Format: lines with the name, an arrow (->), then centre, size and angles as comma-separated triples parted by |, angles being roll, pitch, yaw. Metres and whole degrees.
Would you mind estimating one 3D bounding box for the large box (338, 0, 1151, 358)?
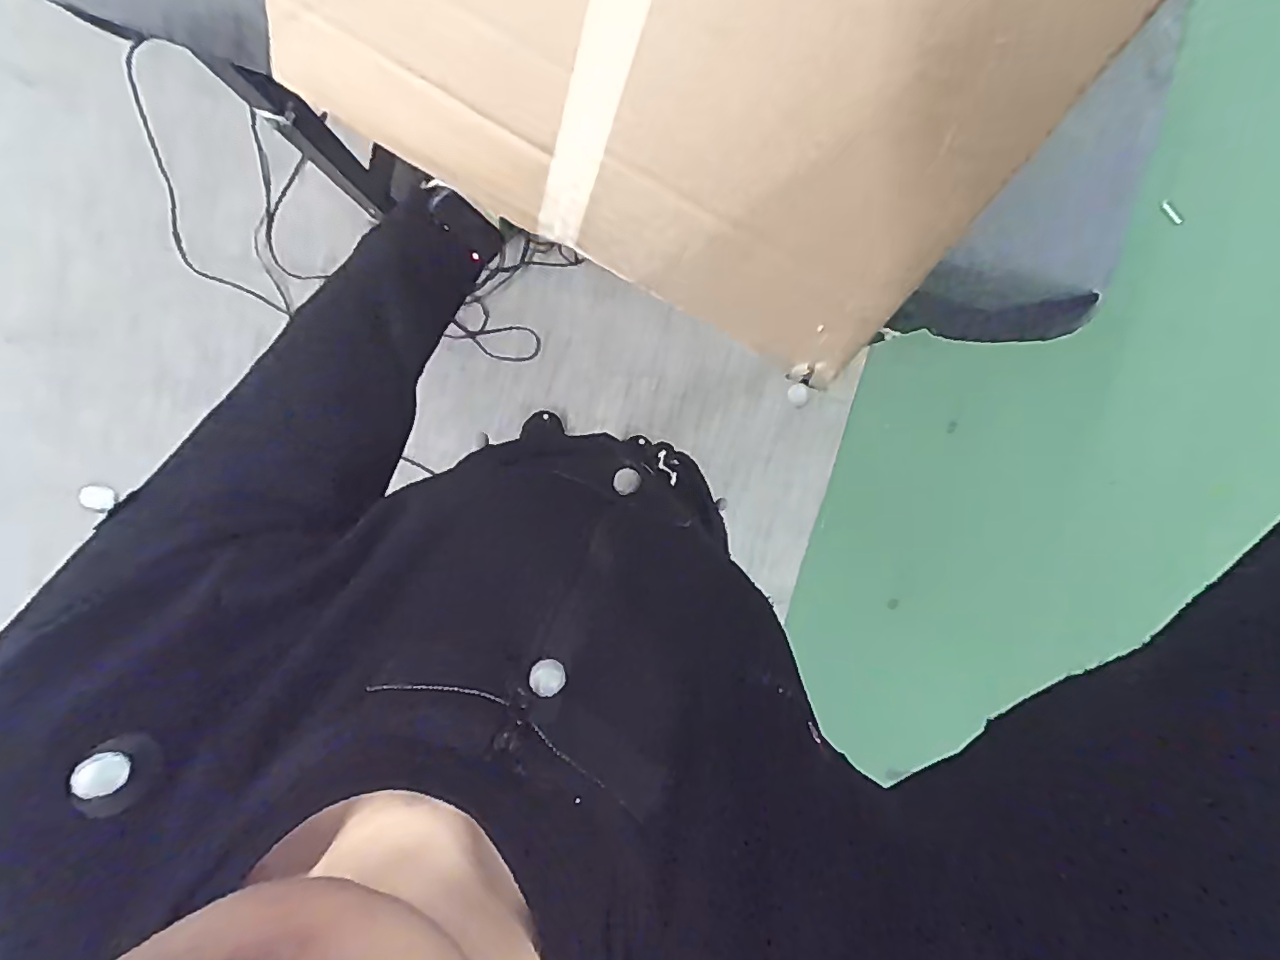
large box -> 0.092, -0.350, 0.247 | 0.320, 0.320, 0.408 | 28, 137, -3
